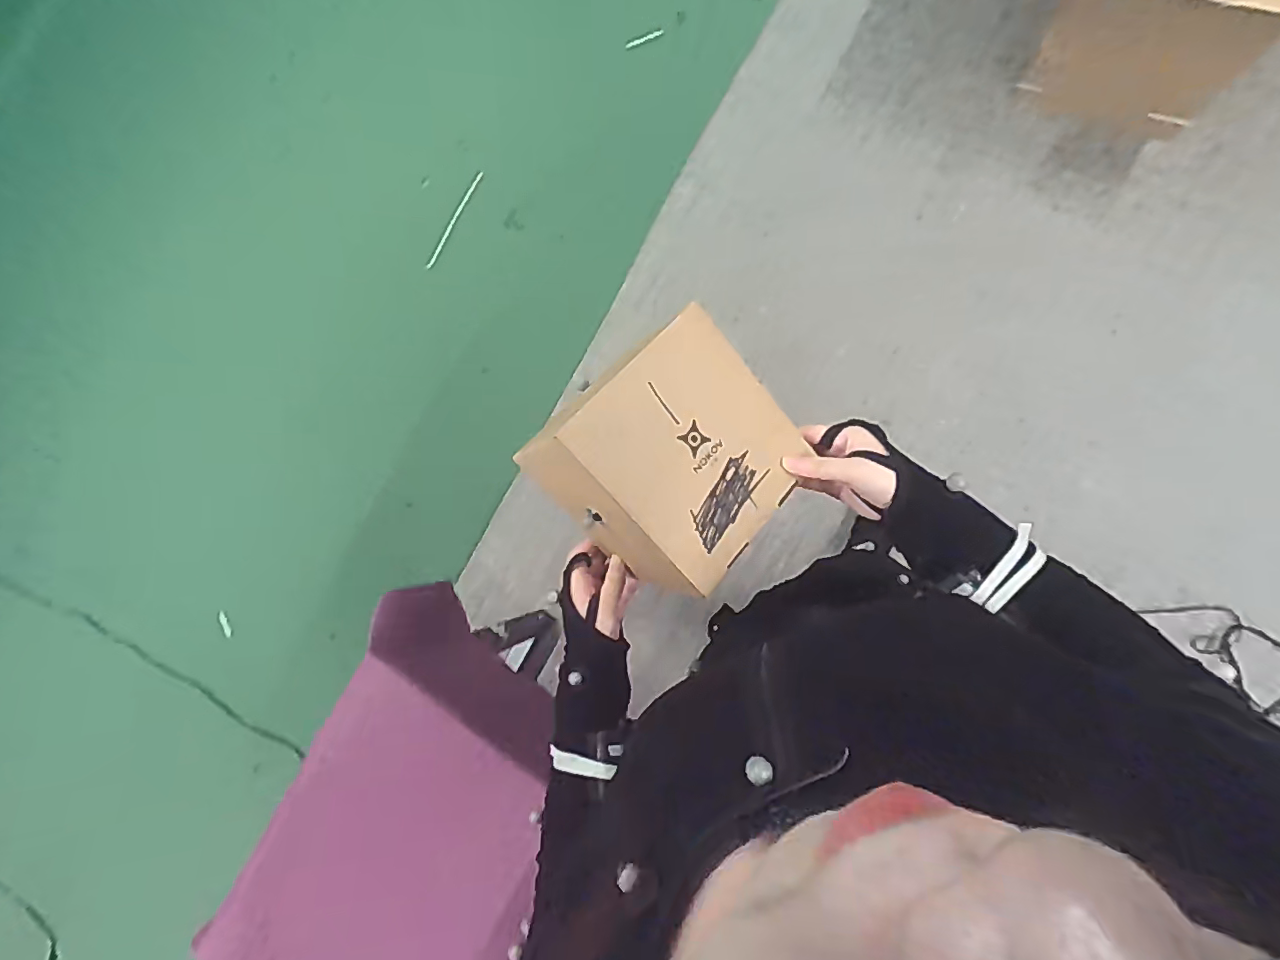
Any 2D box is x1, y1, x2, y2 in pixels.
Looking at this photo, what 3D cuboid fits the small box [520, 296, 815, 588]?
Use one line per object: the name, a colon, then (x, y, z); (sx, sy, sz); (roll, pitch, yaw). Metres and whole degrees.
small box: (0.015, -0.028, 0.499); (0.168, 0.176, 0.179); (-46, 103, -18)
